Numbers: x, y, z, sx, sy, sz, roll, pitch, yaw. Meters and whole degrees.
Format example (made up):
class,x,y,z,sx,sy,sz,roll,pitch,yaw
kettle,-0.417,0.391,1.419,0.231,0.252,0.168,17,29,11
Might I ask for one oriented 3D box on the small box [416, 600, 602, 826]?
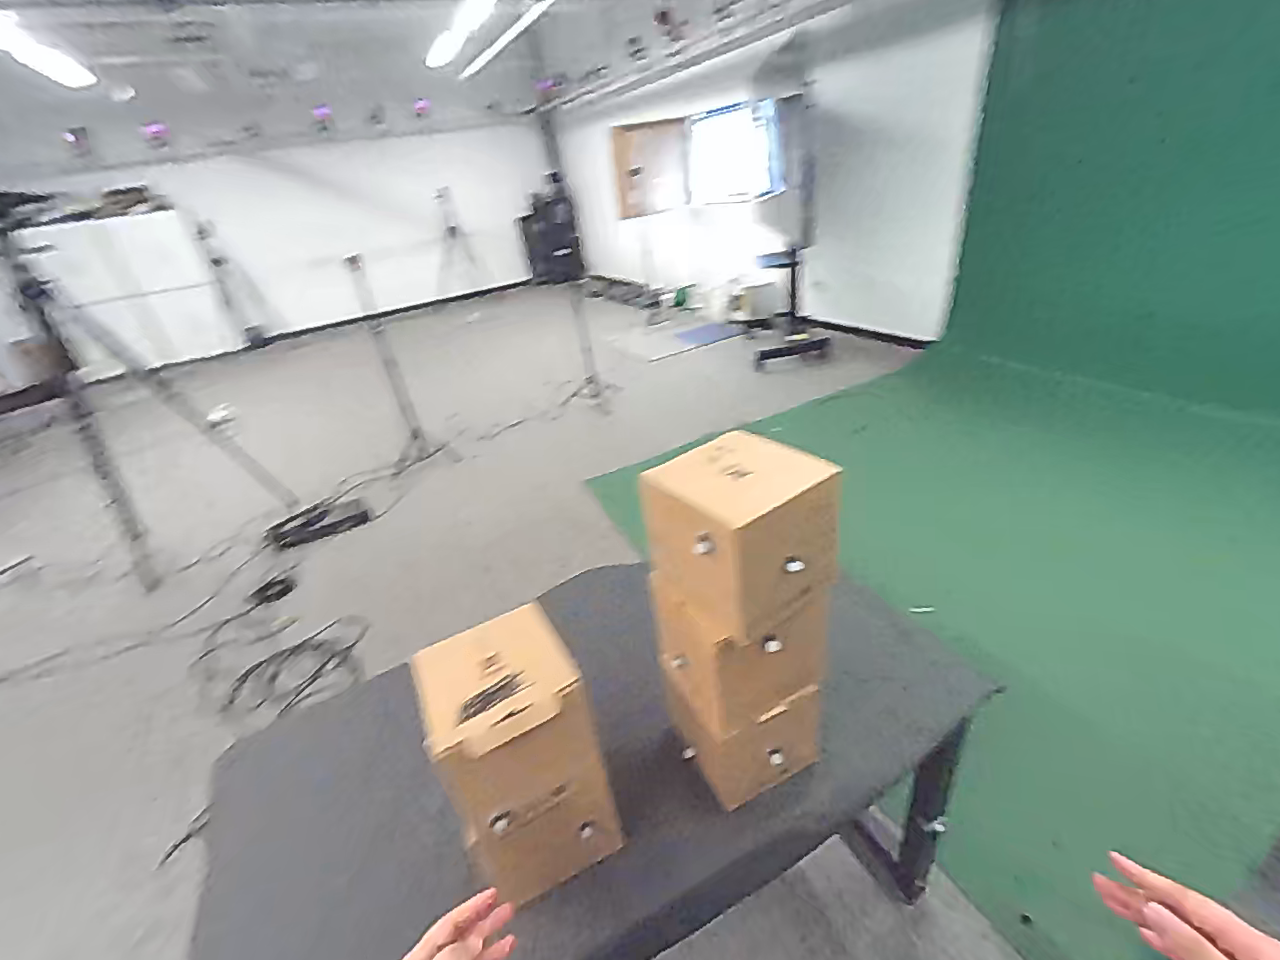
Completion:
class,x,y,z,sx,sy,sz,roll,pitch,yaw
small box,-0.163,0.292,0.683,0.168,0.176,0.179,-21,29,-21

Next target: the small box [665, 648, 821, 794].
class,x,y,z,sx,sy,sz,roll,pitch,yaw
small box,0.157,0.343,0.831,0.168,0.176,0.179,-20,31,-17

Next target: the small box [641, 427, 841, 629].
class,x,y,z,sx,sy,sz,roll,pitch,yaw
small box,0.126,0.058,0.672,0.168,0.176,0.179,-25,32,-26

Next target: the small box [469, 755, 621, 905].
class,x,y,z,sx,sy,sz,roll,pitch,yaw
small box,-0.137,0.435,0.760,0.179,0.176,0.168,-21,30,-17

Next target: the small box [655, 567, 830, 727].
class,x,y,z,sx,sy,sz,roll,pitch,yaw
small box,0.140,0.200,0.756,0.179,0.176,0.168,-21,31,-18
